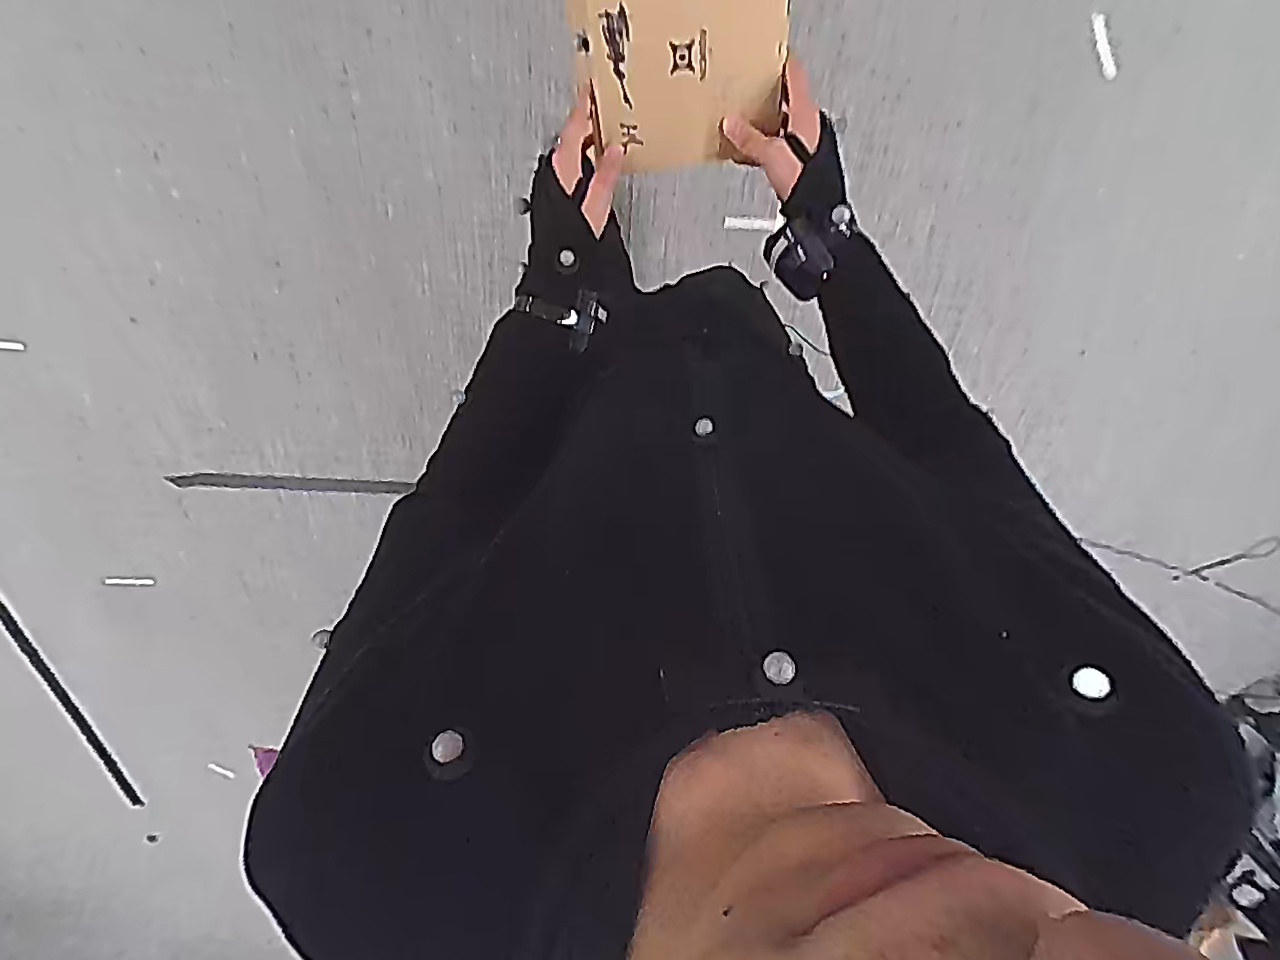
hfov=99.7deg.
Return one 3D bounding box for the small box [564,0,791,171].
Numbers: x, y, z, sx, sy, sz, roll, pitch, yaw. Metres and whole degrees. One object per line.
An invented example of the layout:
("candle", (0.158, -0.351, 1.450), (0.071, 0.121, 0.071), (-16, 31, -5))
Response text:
("small box", (0.028, -0.415, 0.524), (0.179, 0.176, 0.168), (-10, 130, -6))
